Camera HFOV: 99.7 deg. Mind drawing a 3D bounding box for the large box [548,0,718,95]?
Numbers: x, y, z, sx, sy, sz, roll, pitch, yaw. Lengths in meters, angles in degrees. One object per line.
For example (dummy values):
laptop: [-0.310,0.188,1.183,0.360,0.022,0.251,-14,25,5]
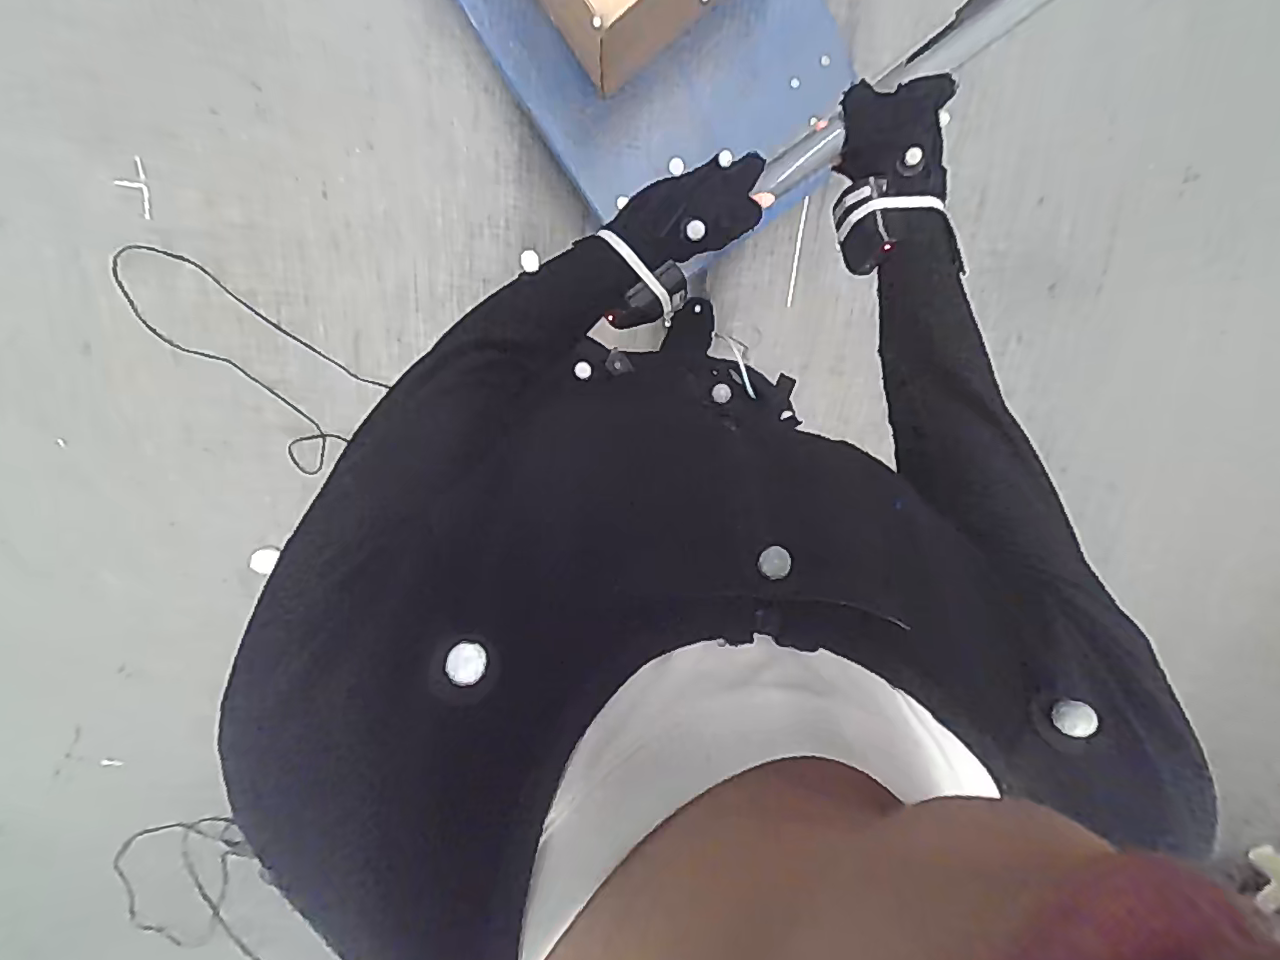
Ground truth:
large box: [0.016,-0.932,0.852,0.408,0.320,0.320,-37,106,10]
